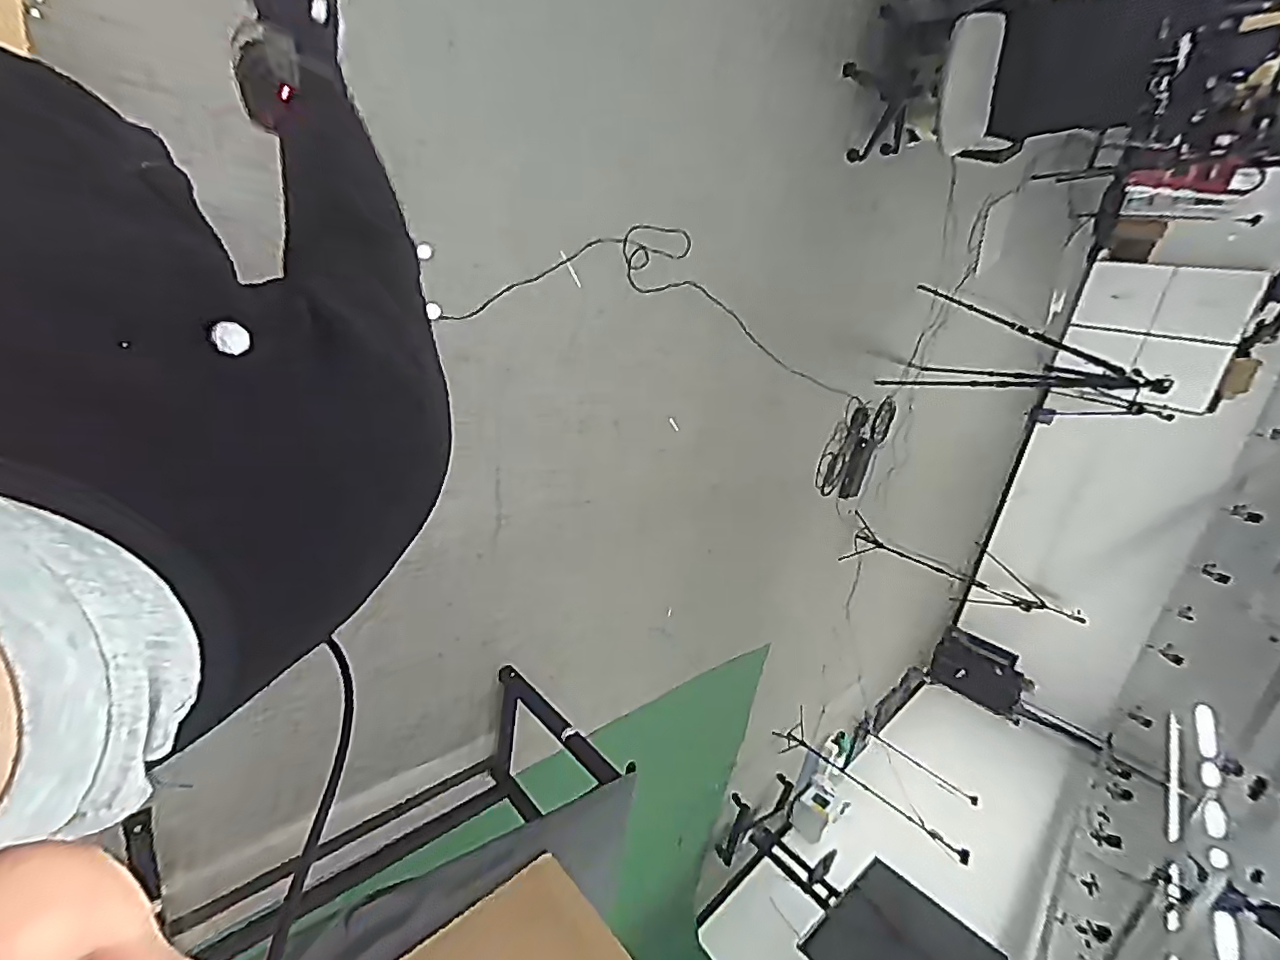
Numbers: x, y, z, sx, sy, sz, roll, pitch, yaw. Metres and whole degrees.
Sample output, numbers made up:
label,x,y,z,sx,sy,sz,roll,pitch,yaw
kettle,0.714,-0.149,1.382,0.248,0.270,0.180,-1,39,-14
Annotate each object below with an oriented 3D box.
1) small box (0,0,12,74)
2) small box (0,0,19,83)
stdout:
label,x,y,z,sx,sy,sz,roll,pitch,yaw
small box,-0.956,-0.669,0.701,0.168,0.176,0.179,-9,116,-45
small box,-1.066,-0.731,0.807,0.168,0.176,0.179,-8,116,-45
